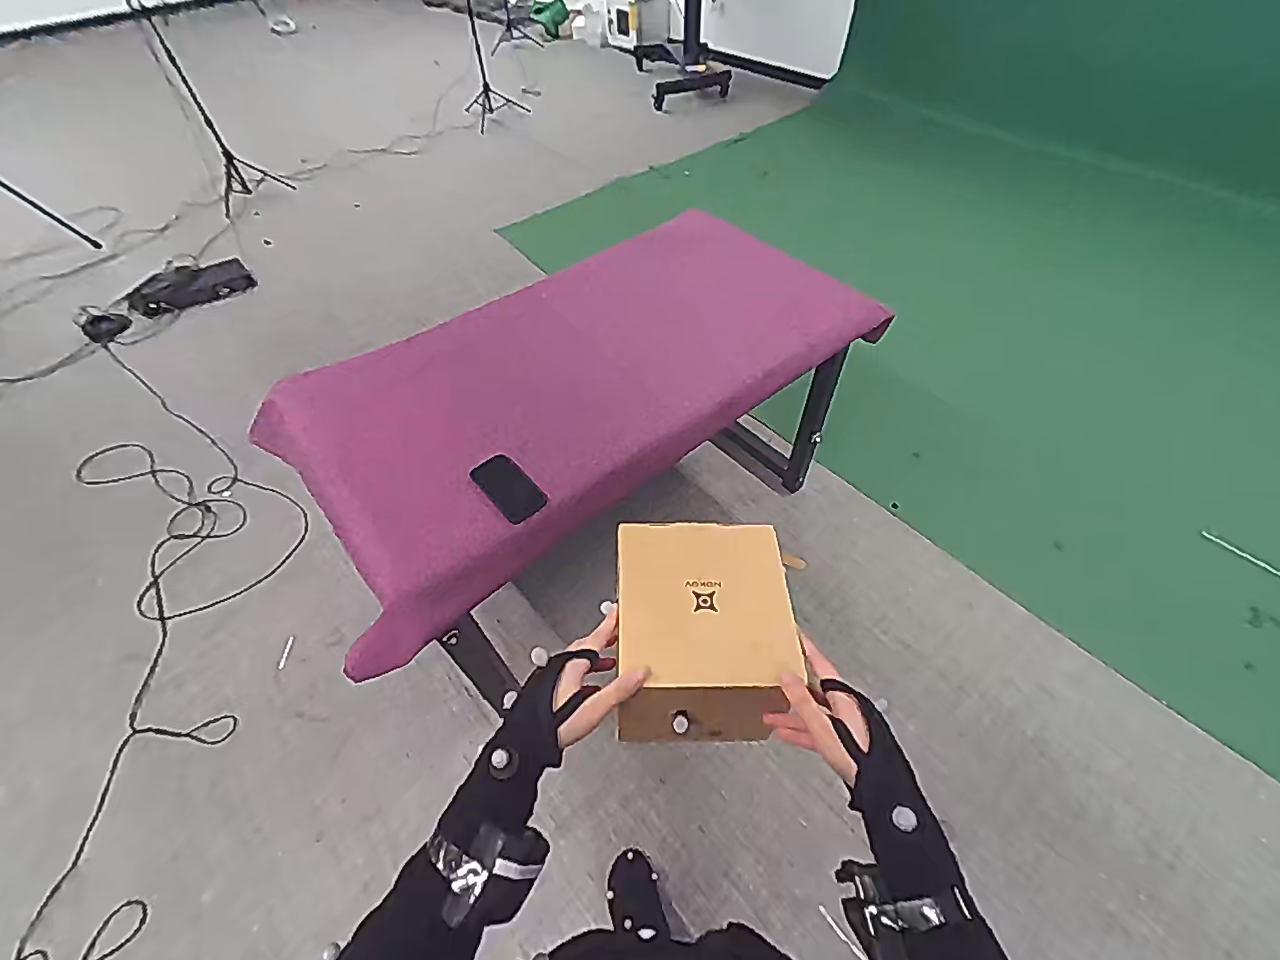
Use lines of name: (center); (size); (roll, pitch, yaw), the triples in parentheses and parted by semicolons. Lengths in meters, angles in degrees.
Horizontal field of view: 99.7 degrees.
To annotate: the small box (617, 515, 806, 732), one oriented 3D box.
small box: (0.060, 0.156, 0.573); (0.168, 0.176, 0.179); (0, 48, -2)
